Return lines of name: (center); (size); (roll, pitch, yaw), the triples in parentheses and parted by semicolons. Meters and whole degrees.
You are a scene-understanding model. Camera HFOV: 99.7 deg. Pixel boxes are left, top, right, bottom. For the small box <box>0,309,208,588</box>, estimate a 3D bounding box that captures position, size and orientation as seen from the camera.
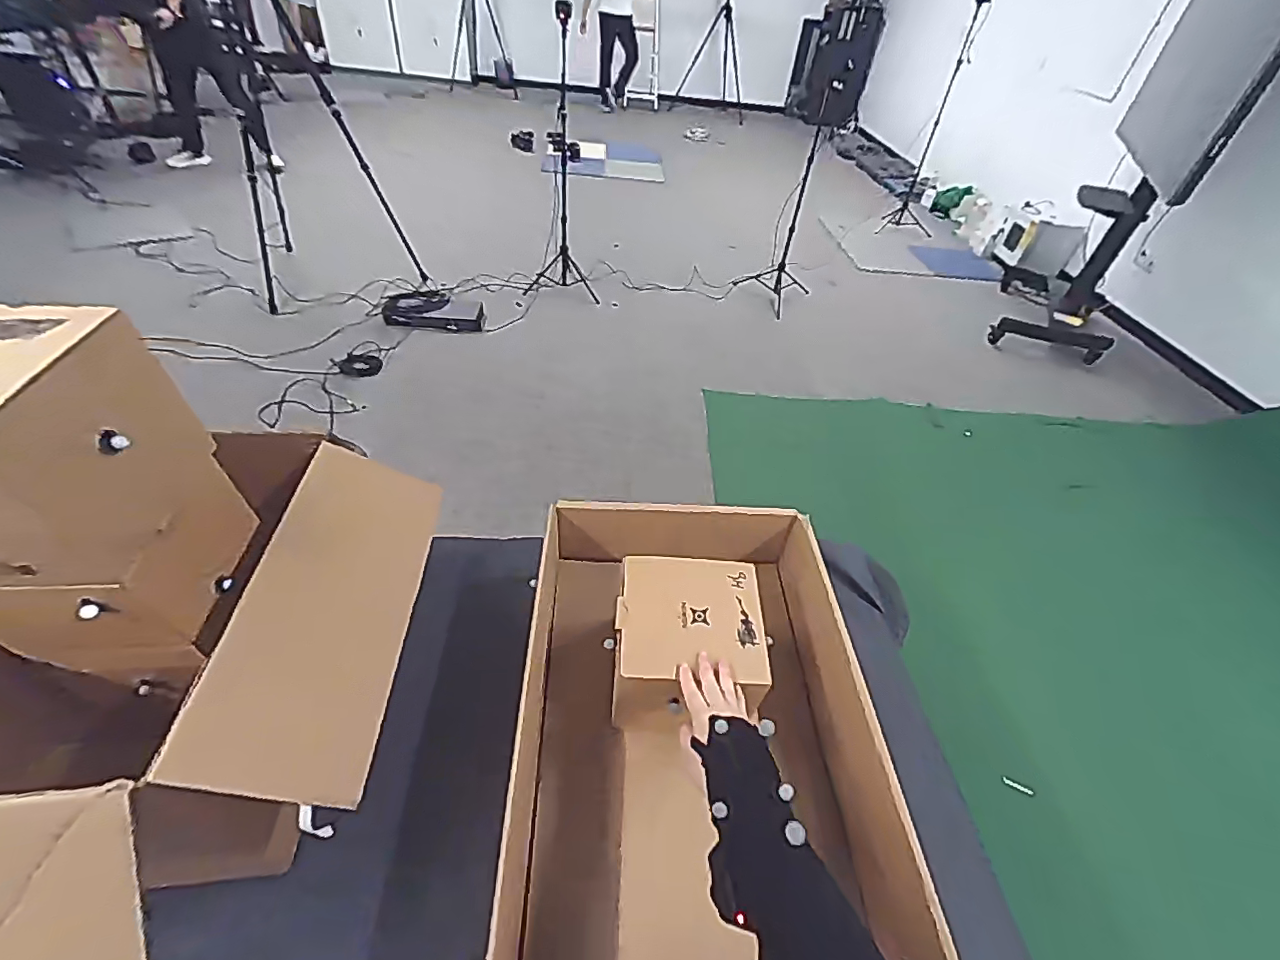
small box: (-0.524, -0.028, 0.464); (0.168, 0.176, 0.179); (1, 48, -4)
